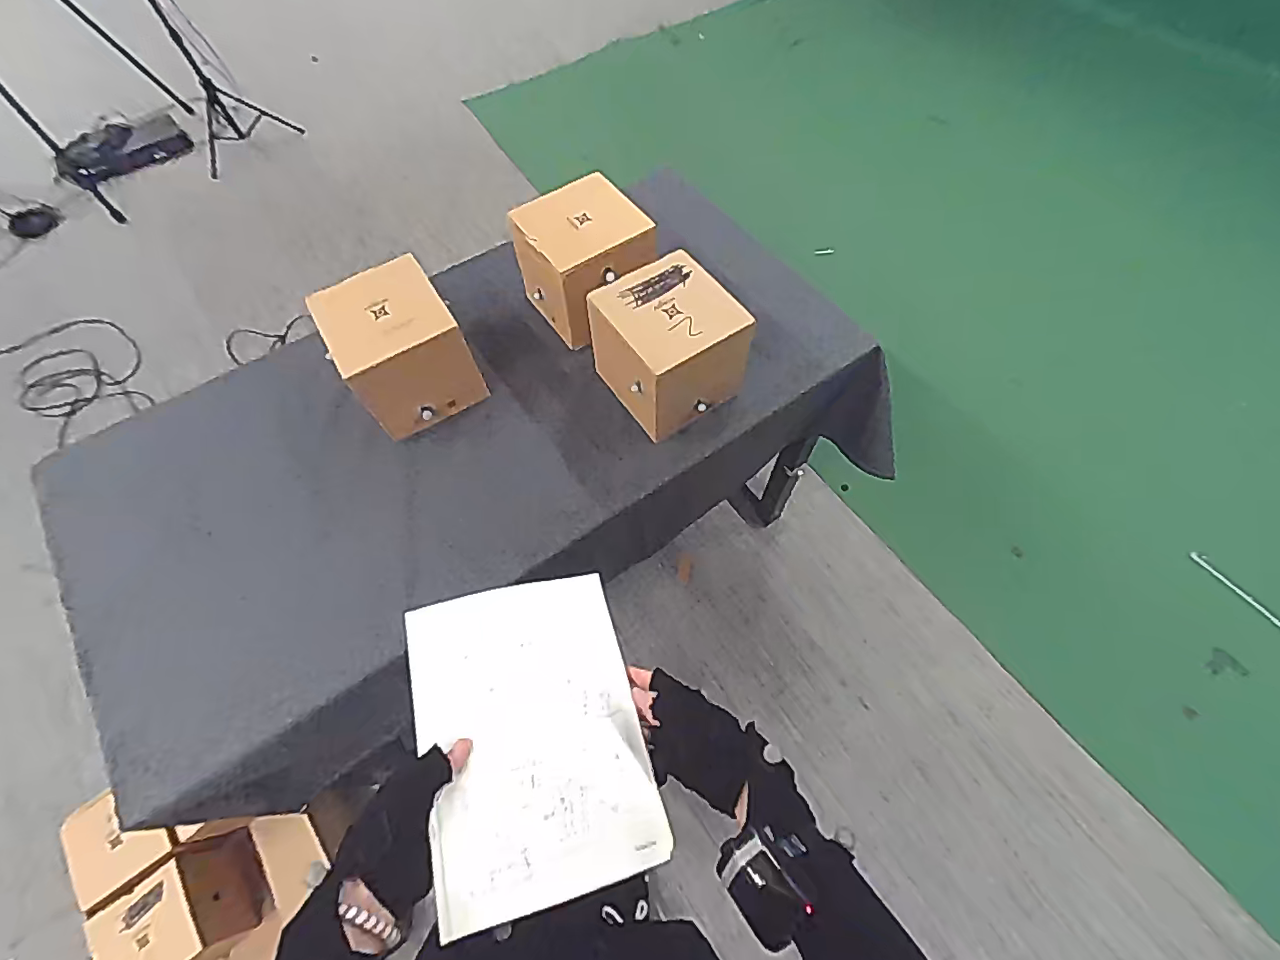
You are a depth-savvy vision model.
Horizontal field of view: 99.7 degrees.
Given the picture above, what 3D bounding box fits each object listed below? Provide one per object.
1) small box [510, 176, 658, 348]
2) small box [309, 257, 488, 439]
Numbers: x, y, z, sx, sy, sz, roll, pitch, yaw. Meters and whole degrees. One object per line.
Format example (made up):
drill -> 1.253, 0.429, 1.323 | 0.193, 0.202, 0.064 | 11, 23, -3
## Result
small box -> -0.087, -0.358, 0.903 | 0.179, 0.176, 0.168 | -33, 66, -14
small box -> -0.358, -0.195, 0.825 | 0.168, 0.176, 0.179 | -30, 66, -13
